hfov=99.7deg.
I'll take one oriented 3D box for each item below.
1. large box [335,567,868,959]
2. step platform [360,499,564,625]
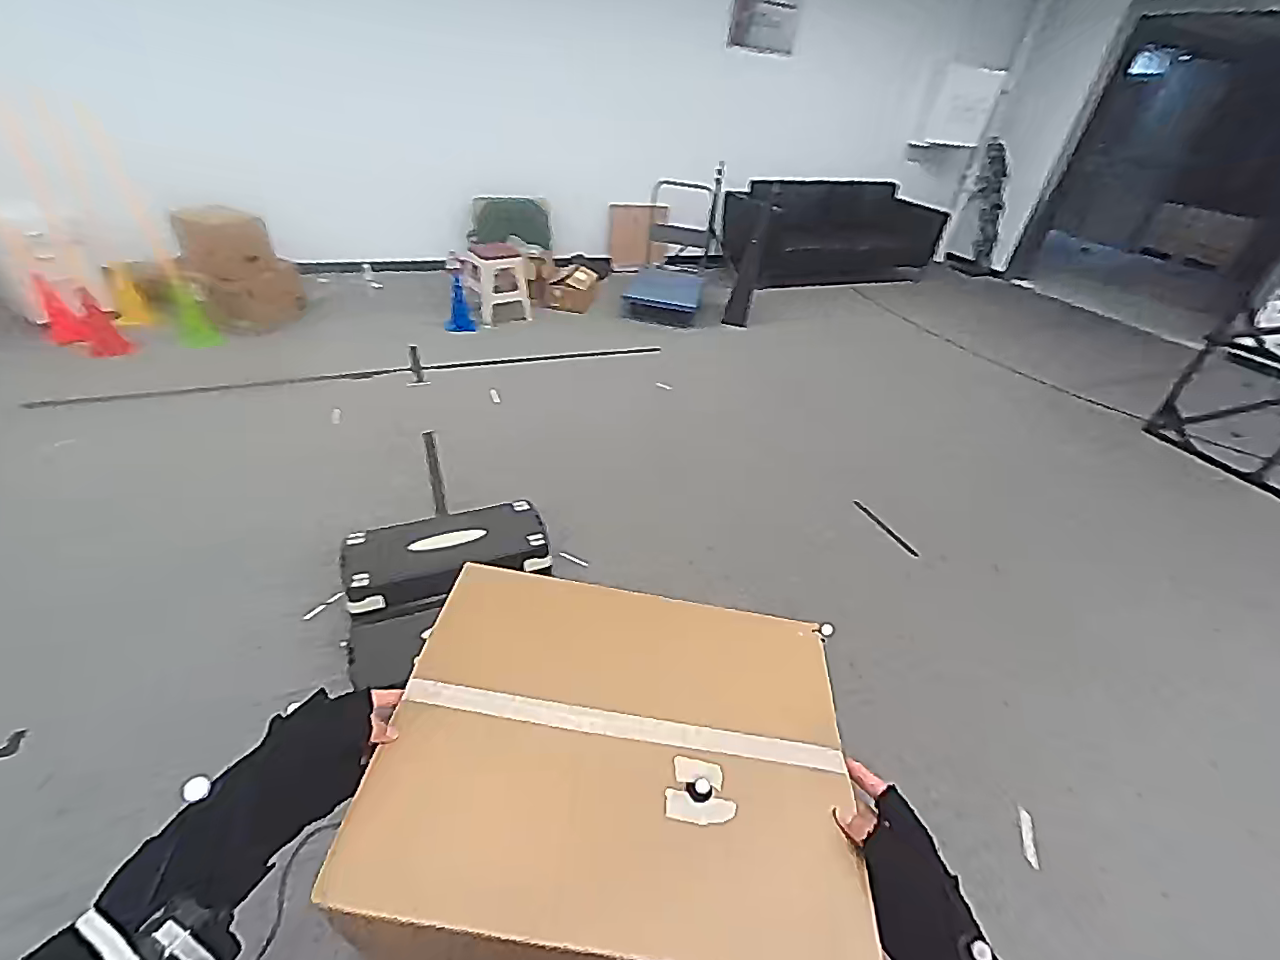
[{"bbox_3d":[-0.037,0.339,0.598,0.408,0.320,0.320,10,39,-2],"label":"large box"},{"bbox_3d":[-0.622,0.272,1.938,0.684,0.204,0.286,-11,40,-23],"label":"step platform"}]
